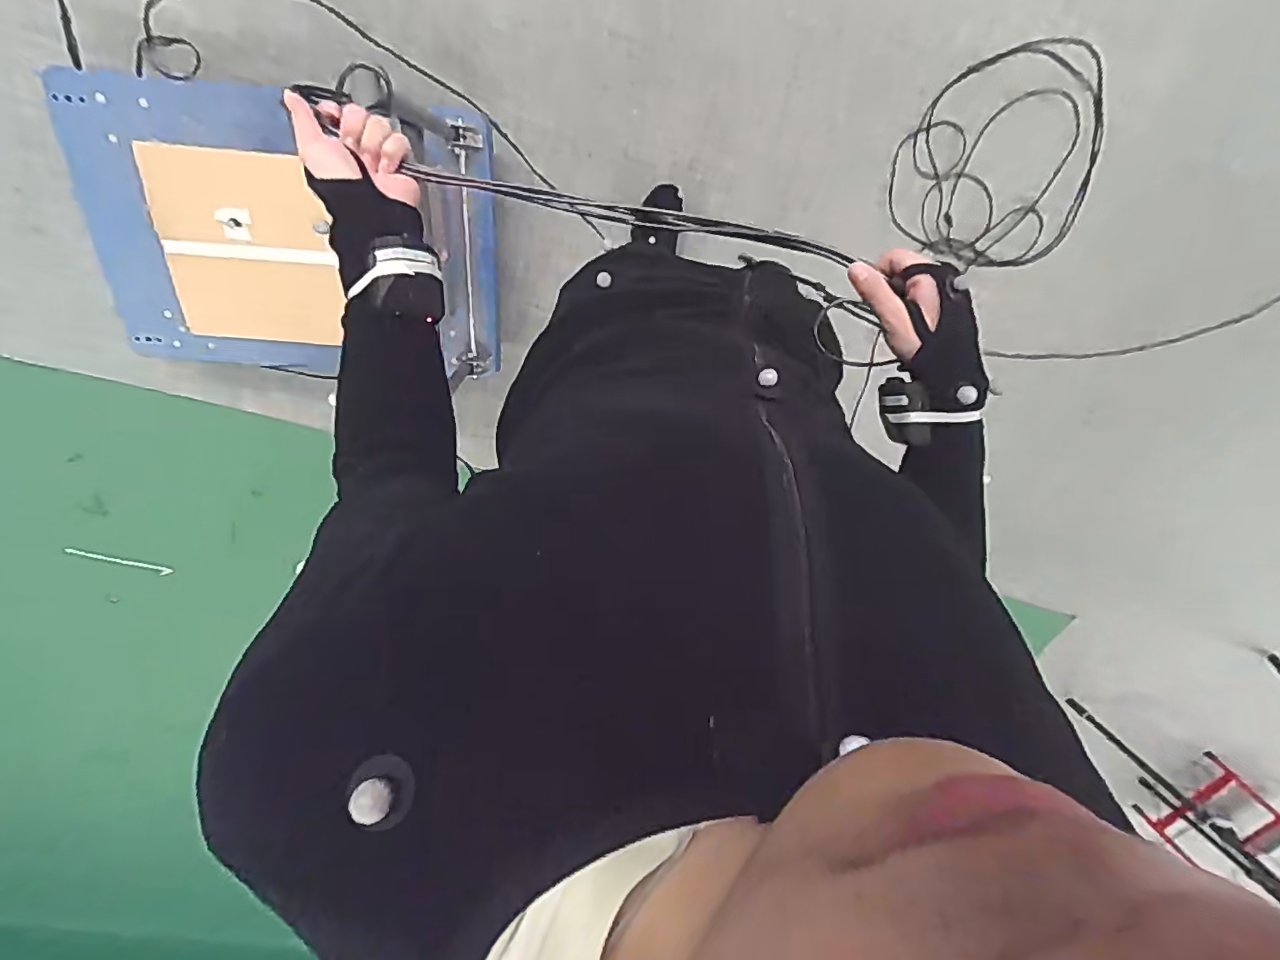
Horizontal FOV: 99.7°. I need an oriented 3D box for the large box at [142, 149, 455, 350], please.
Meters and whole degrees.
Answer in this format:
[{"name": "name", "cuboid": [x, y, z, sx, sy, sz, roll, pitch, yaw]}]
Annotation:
[{"name": "large box", "cuboid": [-0.626, -0.461, 1.087, 0.408, 0.320, 0.320, 3, 116, -3]}]
